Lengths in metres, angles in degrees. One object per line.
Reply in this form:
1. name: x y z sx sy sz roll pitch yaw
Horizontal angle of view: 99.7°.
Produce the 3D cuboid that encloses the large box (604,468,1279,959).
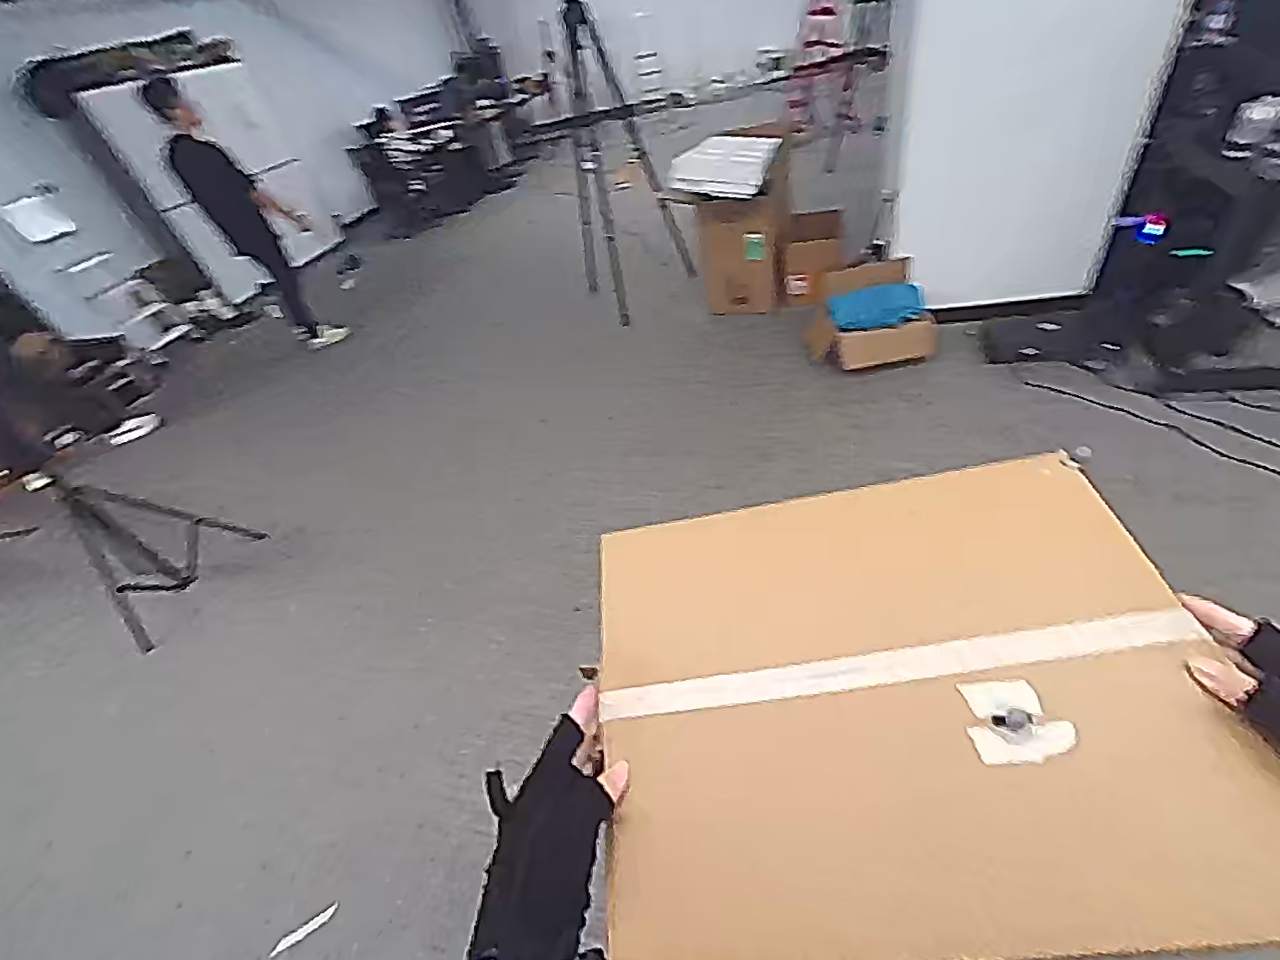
1. large box: 0.200 0.236 0.510 0.408 0.320 0.320 -11 50 7
